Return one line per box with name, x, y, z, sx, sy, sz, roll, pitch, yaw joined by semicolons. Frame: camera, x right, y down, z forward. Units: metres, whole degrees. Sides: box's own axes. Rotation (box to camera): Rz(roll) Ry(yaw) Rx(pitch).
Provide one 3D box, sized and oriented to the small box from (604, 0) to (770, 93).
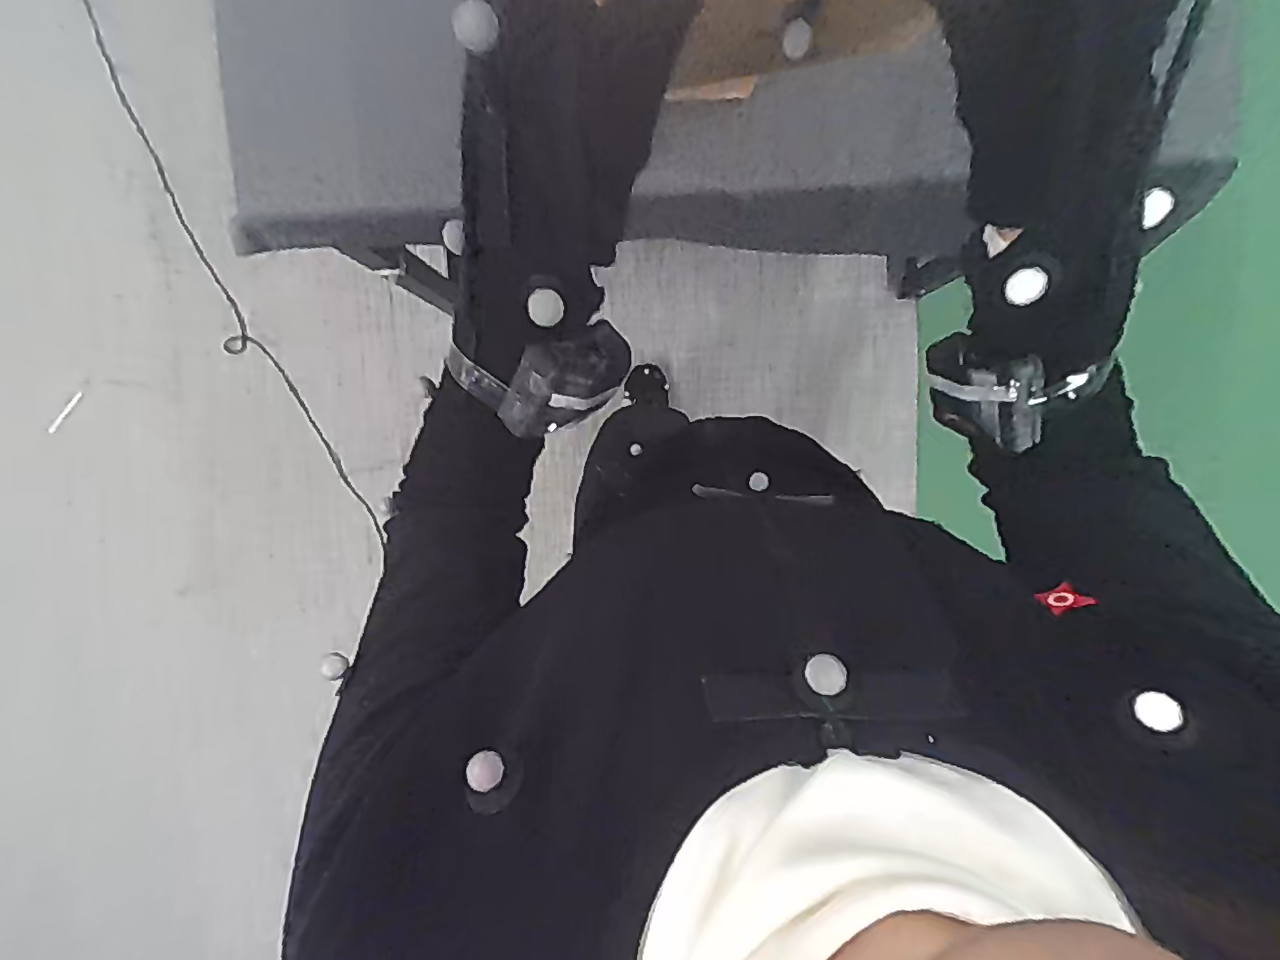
small box;0.050;-0.536;0.560;0.179;0.176;0.168;-1;97;1
